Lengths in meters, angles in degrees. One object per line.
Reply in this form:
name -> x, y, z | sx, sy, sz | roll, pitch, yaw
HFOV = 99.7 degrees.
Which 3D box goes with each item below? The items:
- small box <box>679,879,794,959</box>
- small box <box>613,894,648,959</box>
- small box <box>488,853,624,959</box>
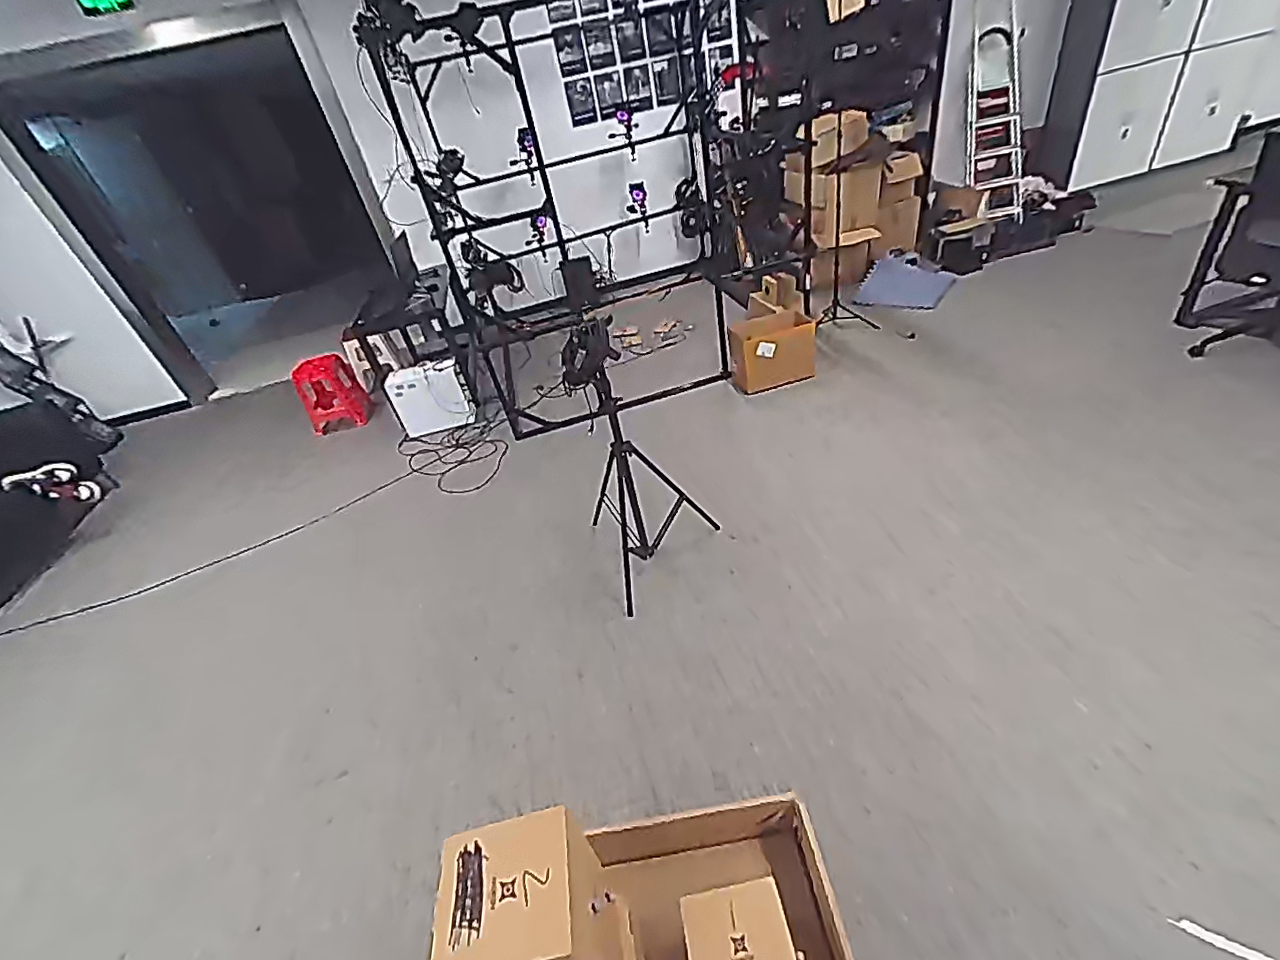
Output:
small box -> 0.170, 0.799, 0.885 | 0.168, 0.176, 0.179 | -13, 35, 0
small box -> -0.082, 0.840, 0.909 | 0.179, 0.176, 0.168 | -13, 36, -1
small box -> -0.122, 0.712, 0.815 | 0.168, 0.176, 0.179 | -16, 35, -2
